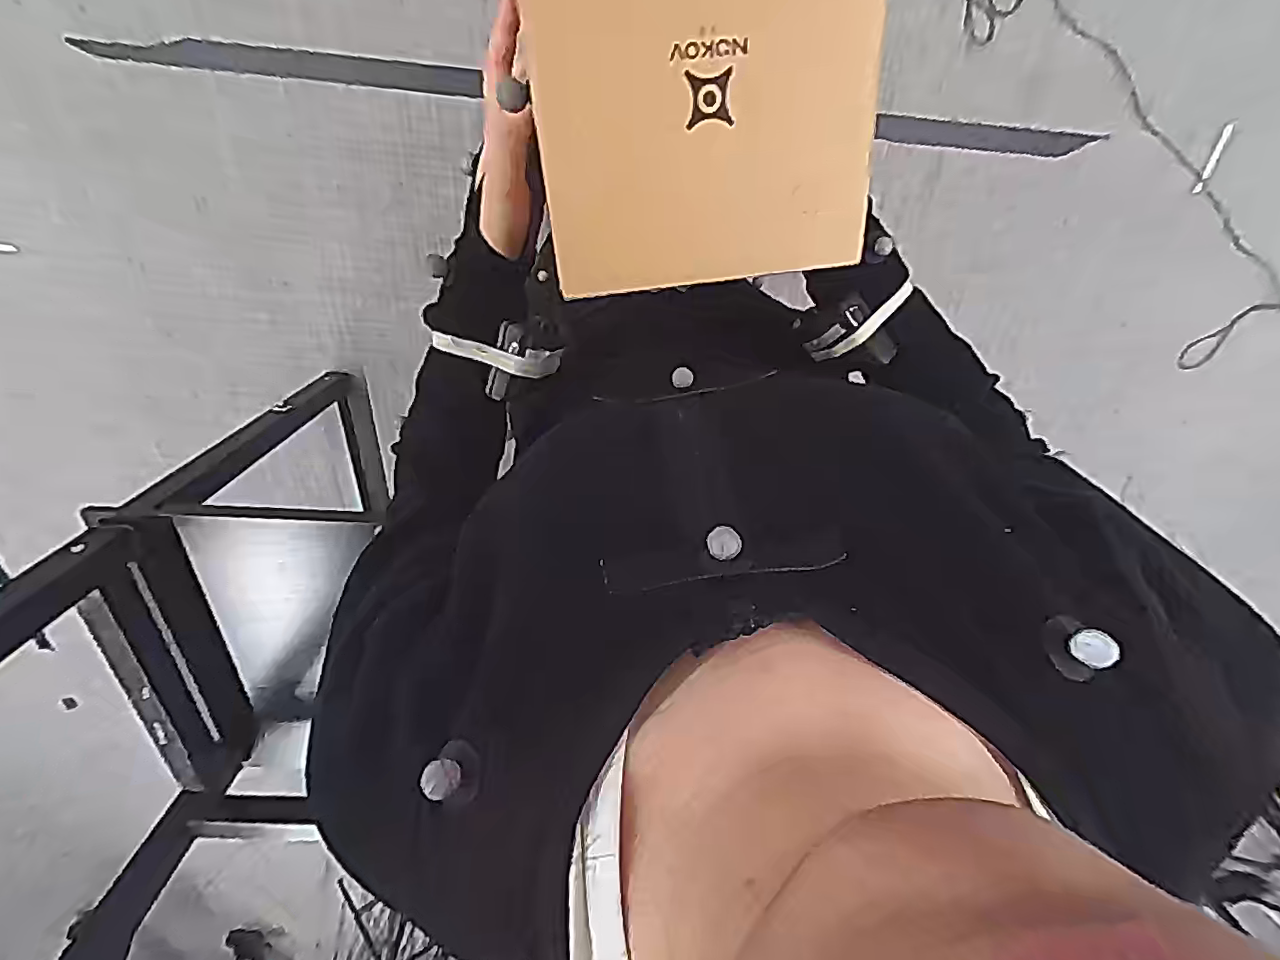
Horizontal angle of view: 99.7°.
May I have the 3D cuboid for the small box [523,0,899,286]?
[{"bbox_3d":[0.025,-0.224,0.312,0.168,0.176,0.179,-9,119,-4],"label":"small box"}]
